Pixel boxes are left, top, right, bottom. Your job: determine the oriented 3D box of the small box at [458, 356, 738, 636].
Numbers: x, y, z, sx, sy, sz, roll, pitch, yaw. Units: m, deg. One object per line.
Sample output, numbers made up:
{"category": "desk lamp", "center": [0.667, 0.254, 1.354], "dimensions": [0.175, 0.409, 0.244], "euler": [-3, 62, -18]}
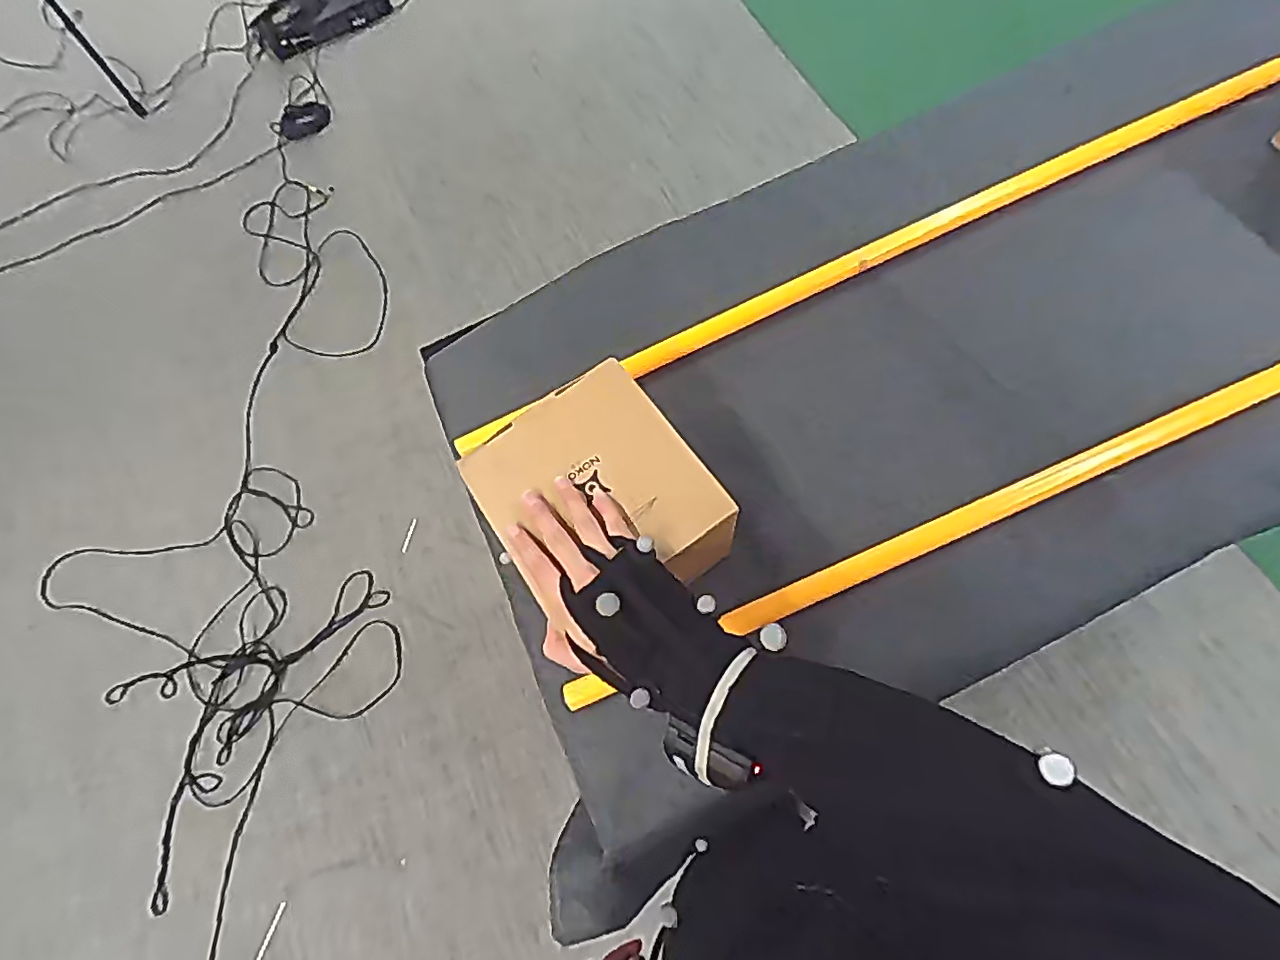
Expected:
{"category": "small box", "center": [-0.031, 0.027, 0.504], "dimensions": [0.168, 0.176, 0.179], "euler": [-36, 71, -6]}
